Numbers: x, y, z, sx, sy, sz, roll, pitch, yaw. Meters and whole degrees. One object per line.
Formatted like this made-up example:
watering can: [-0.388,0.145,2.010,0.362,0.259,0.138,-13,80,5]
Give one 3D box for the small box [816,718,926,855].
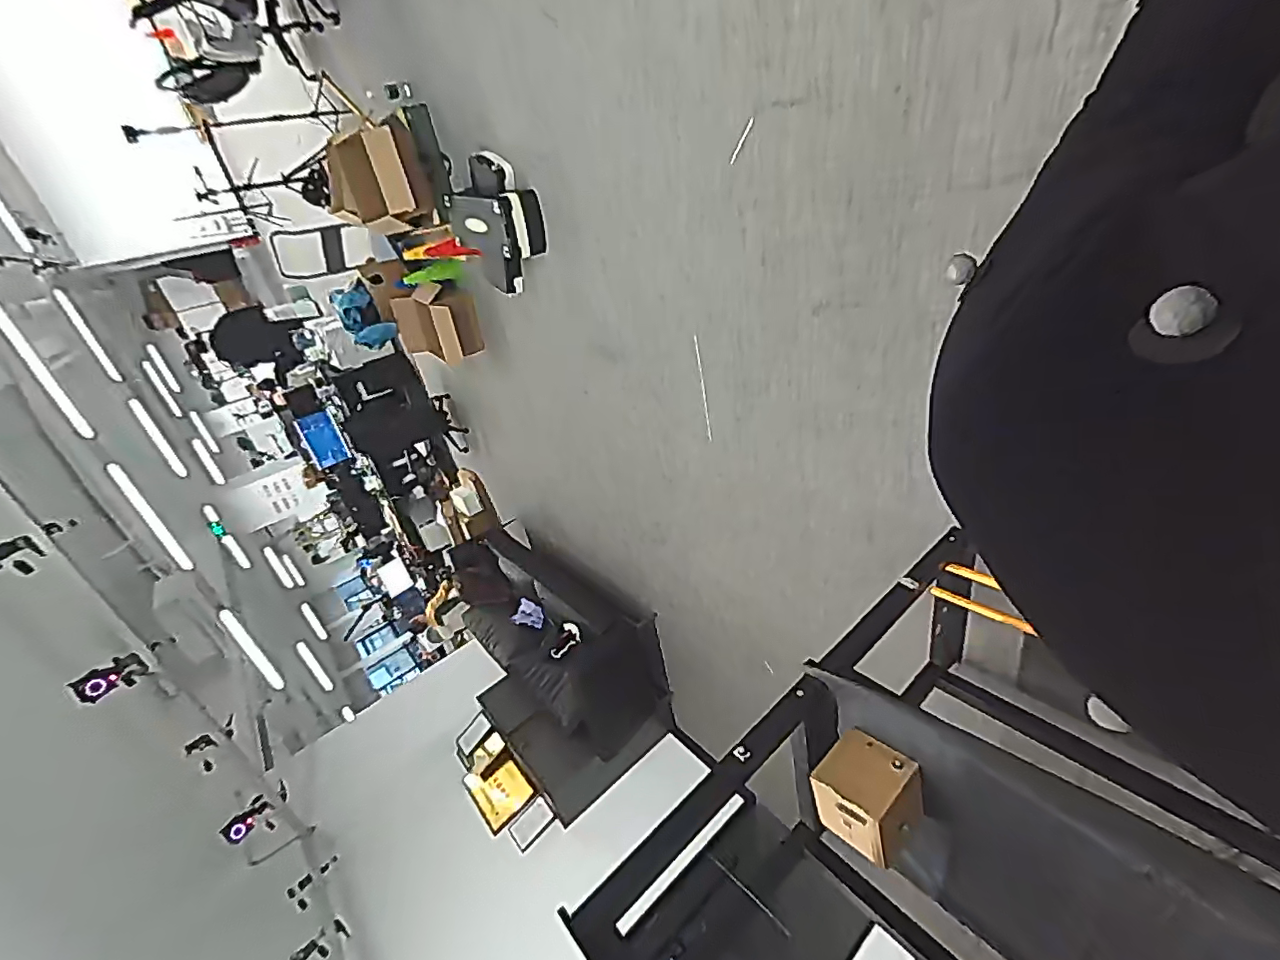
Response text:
small box: [0.528,0.685,1.230,0.168,0.176,0.179,17,131,51]
